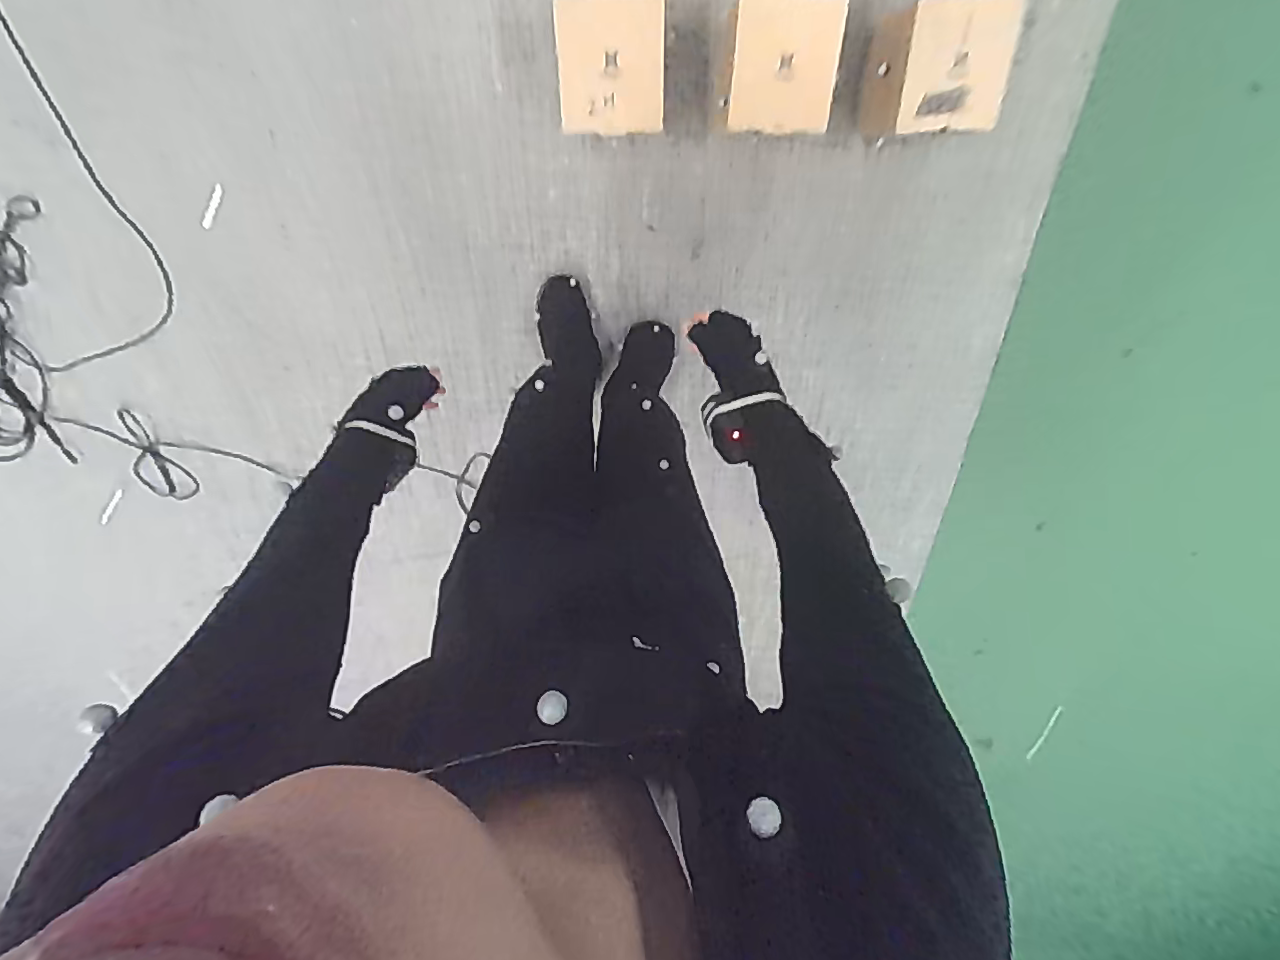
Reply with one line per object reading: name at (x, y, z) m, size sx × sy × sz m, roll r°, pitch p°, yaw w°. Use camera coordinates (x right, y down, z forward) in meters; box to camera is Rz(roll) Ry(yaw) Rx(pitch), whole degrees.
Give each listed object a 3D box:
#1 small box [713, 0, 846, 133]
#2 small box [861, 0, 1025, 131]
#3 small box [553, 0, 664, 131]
small box at (0.220, -0.690, 0.903) m, size 0.168 × 0.176 × 0.179 m, roll 1°, pitch 122°, yaw -2°
small box at (0.489, -0.691, 0.906) m, size 0.168 × 0.176 × 0.179 m, roll -2°, pitch 121°, yaw 0°
small box at (-0.048, -0.687, 0.897) m, size 0.168 × 0.176 × 0.179 m, roll 0°, pitch 122°, yaw 0°
